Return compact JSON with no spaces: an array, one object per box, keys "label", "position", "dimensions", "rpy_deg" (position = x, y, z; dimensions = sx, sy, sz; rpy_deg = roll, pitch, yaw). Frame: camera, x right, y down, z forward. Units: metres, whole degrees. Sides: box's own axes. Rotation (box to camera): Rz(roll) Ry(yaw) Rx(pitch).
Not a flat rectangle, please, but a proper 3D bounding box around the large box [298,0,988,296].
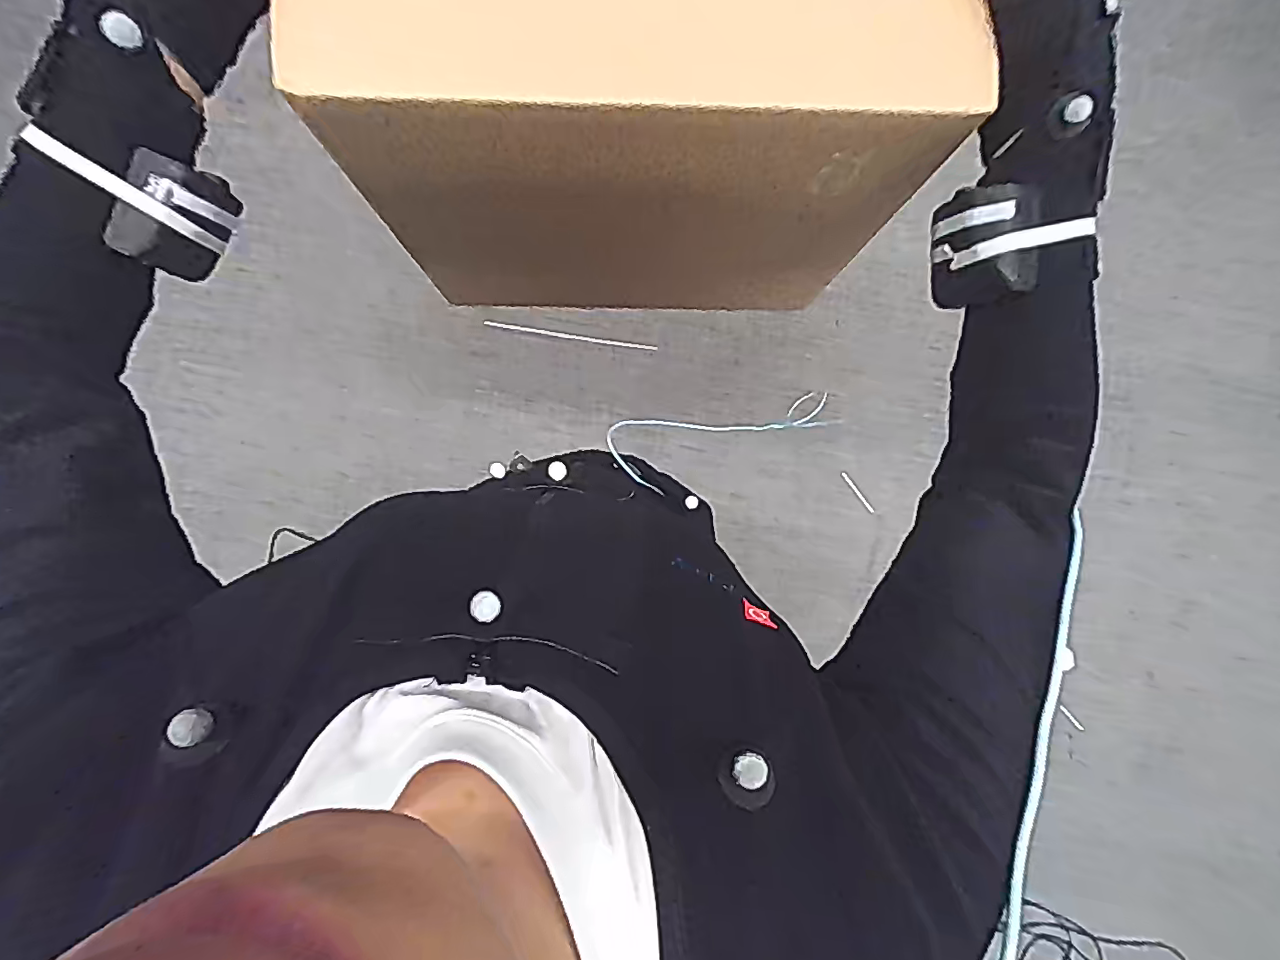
[{"label":"large box","position":[-0.004,-0.366,0.465],"dimensions":[0.408,0.320,0.320],"rpy_deg":[0,87,-4]}]
